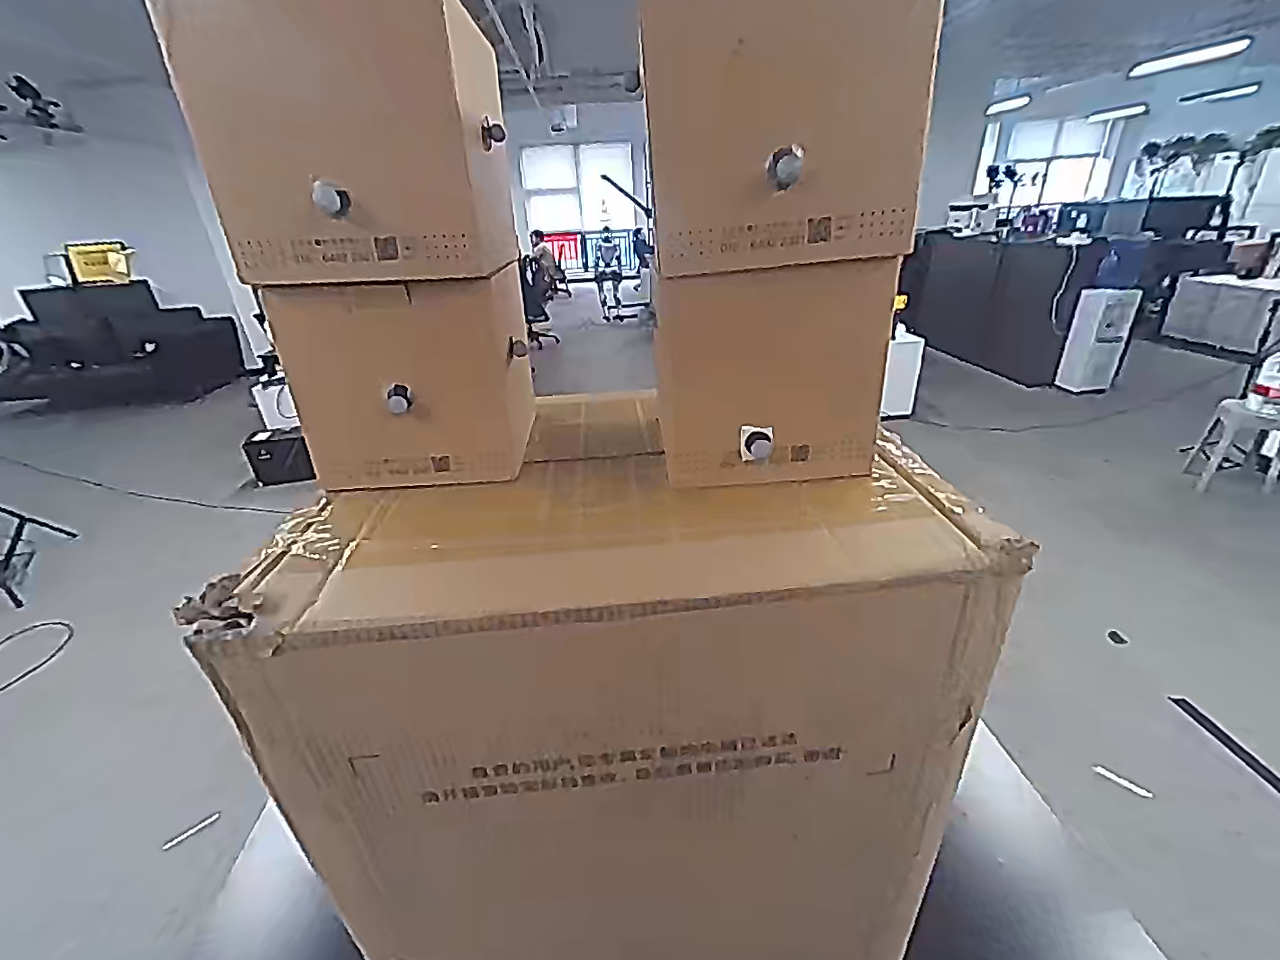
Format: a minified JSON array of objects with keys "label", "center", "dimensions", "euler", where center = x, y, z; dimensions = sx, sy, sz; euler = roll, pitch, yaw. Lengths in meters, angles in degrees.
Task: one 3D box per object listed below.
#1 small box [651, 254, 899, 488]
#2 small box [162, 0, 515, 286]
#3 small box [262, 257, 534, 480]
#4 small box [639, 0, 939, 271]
[{"label":"small box","center":[0.098,-0.108,0.476],"dimensions":[0.168,0.176,0.179],"euler":[-6,28,1]},{"label":"small box","center":[-0.196,-0.247,0.413],"dimensions":[0.168,0.176,0.179],"euler":[-3,27,-2]},{"label":"small box","center":[-0.195,-0.106,0.502],"dimensions":[0.168,0.176,0.179],"euler":[-3,27,-4]},{"label":"small box","center":[0.087,-0.252,0.394],"dimensions":[0.168,0.176,0.179],"euler":[-5,27,3]}]
